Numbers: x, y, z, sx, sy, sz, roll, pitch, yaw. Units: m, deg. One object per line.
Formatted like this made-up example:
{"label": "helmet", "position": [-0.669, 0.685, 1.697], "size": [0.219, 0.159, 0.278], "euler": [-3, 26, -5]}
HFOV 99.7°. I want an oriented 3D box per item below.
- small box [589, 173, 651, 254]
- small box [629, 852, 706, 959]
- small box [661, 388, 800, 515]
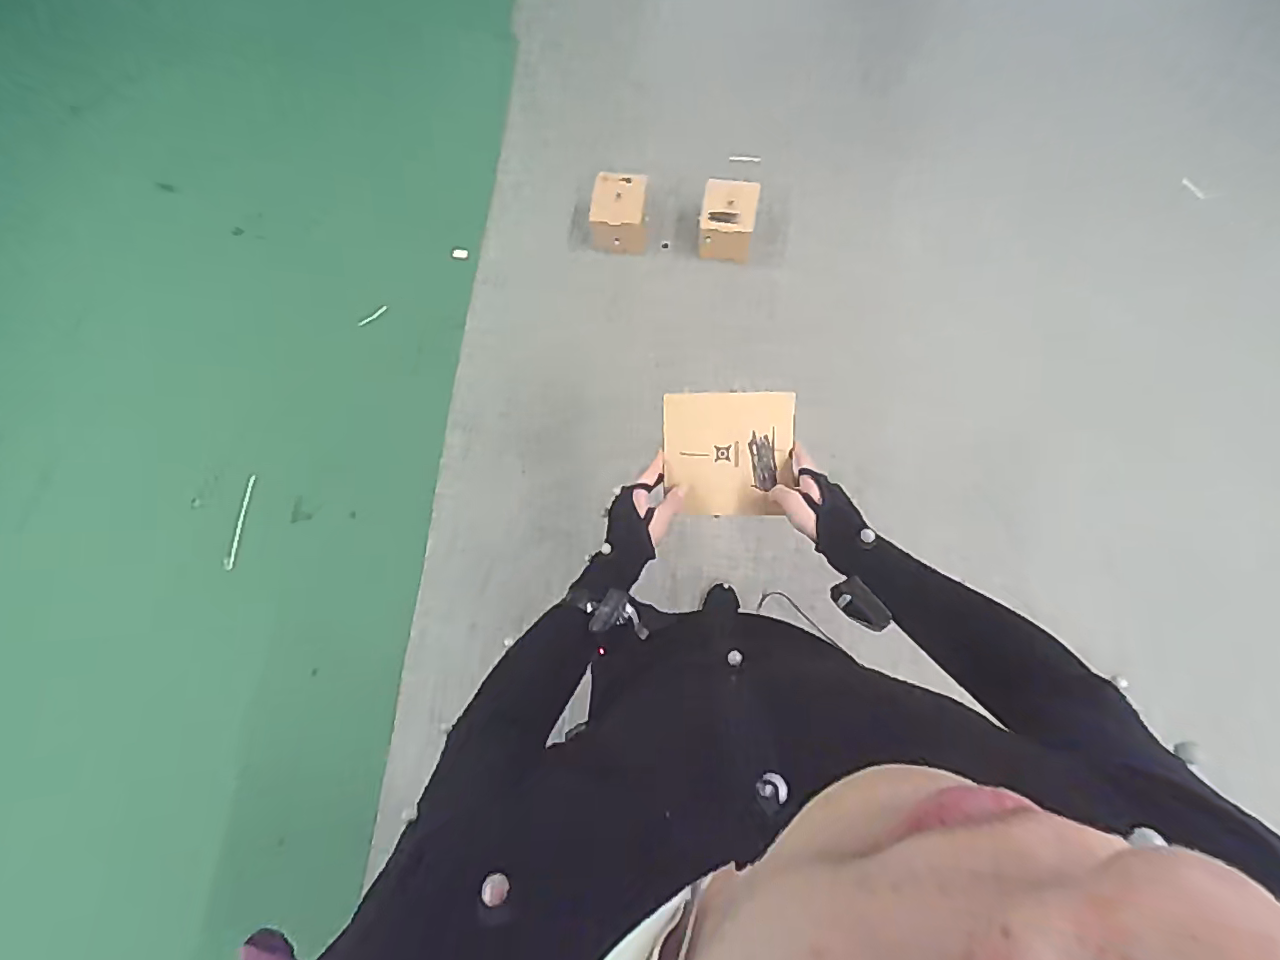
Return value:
{"label": "small box", "position": [-0.059, -0.866, 1.768], "size": [0.168, 0.176, 0.179], "euler": [8, 81, 7]}
{"label": "small box", "position": [0.076, 1.103, 1.403], "size": [0.179, 0.176, 0.168], "euler": [6, 81, 6]}
{"label": "small box", "position": [0.121, -0.046, 0.782], "size": [0.179, 0.176, 0.168], "euler": [1, 96, 4]}
